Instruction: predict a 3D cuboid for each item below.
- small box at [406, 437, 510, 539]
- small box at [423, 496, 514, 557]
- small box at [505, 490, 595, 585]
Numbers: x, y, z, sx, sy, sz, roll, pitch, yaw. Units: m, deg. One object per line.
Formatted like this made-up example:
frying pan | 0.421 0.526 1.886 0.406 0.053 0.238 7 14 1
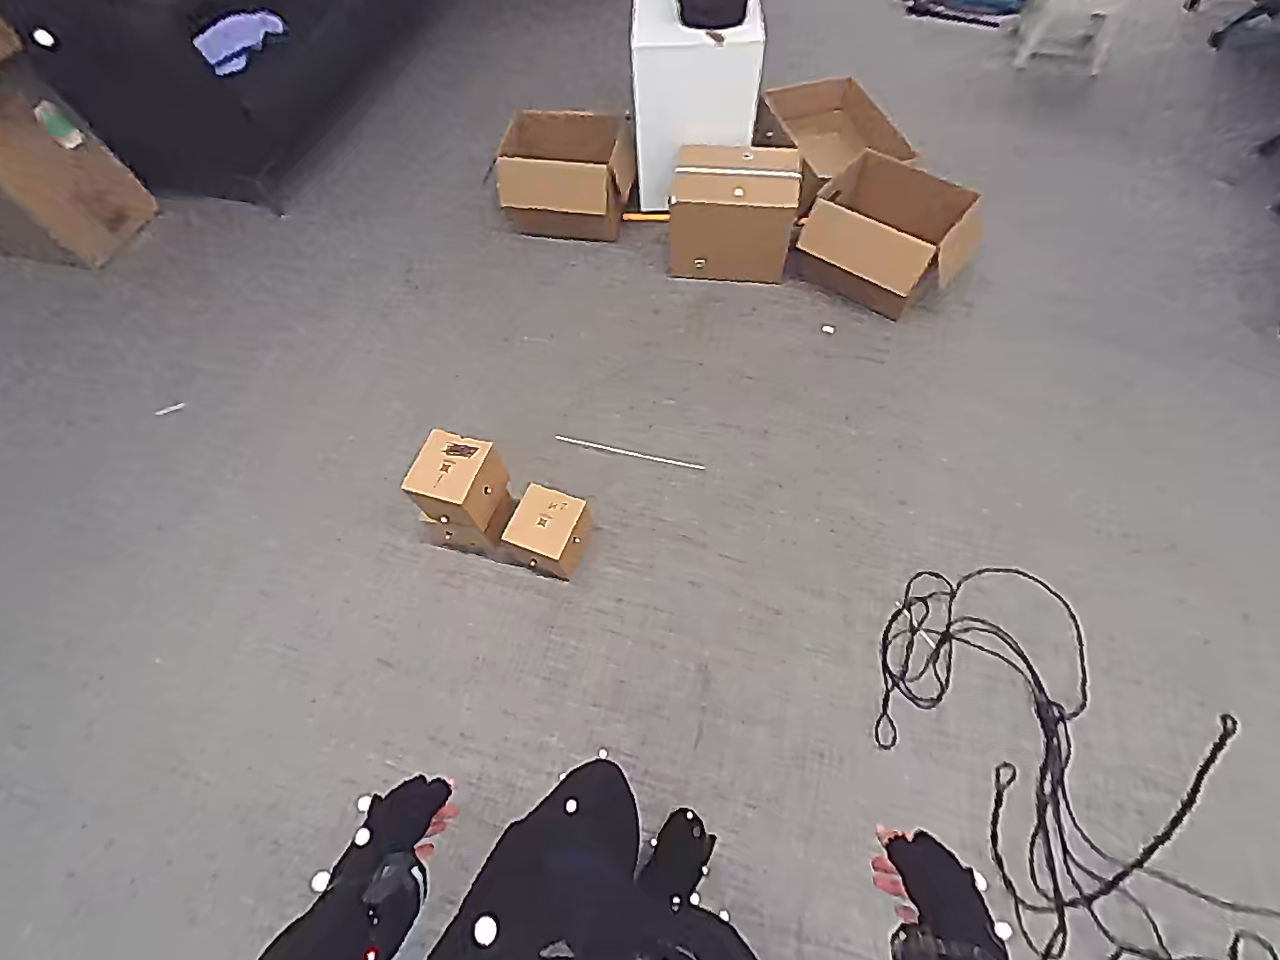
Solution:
small box | -0.444 0.022 1.355 0.168 0.176 0.179 14 64 11
small box | -0.467 0.100 1.503 0.168 0.176 0.179 8 62 8
small box | -0.232 0.160 1.452 0.168 0.176 0.179 18 64 13
